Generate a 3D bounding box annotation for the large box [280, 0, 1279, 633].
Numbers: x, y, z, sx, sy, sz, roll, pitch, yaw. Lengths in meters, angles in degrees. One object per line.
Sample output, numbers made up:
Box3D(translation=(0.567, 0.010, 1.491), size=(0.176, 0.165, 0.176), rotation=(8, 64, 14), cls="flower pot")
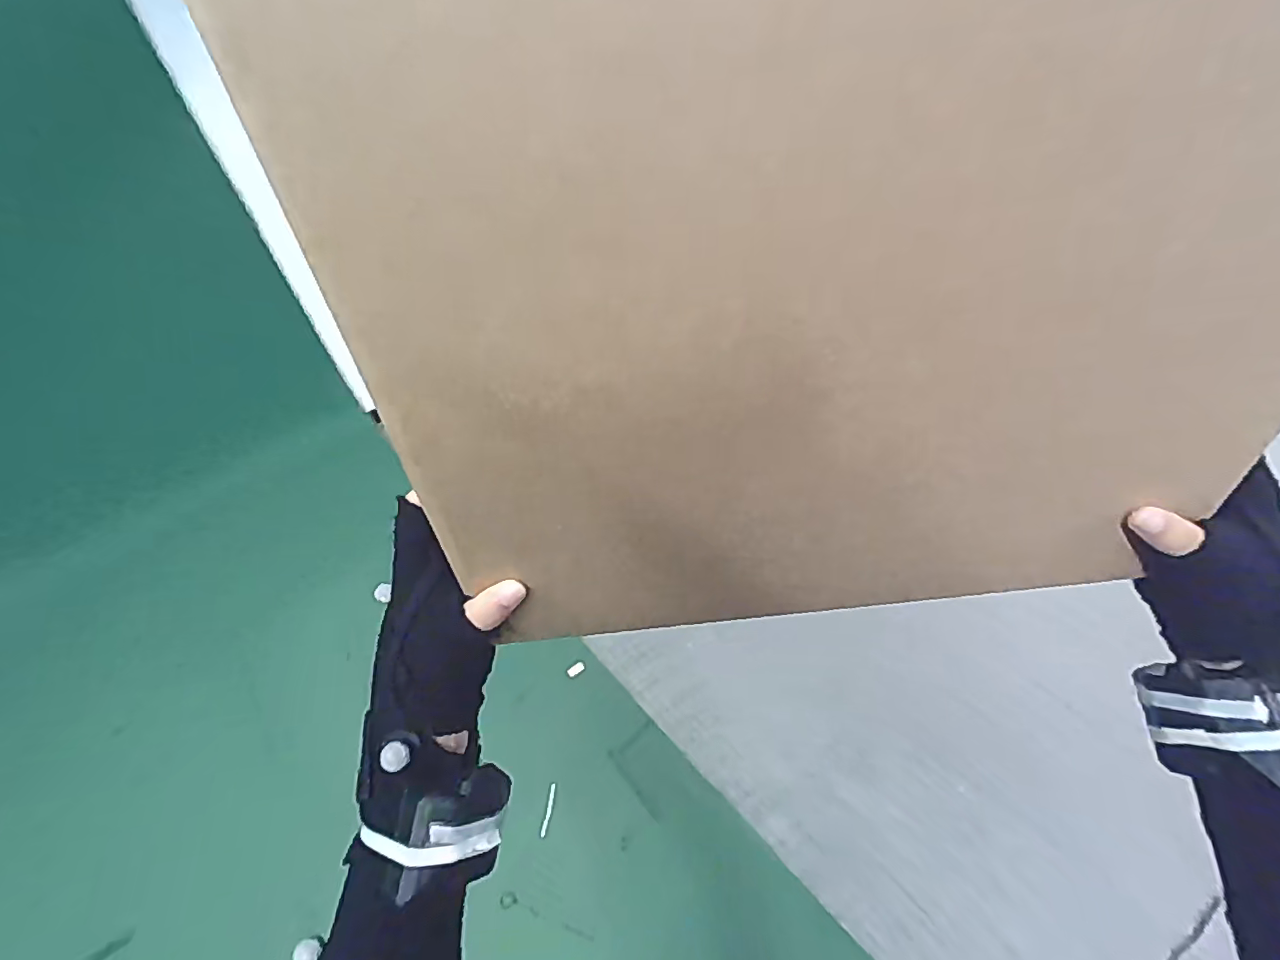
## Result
Box3D(translation=(0.095, -0.135, 0.342), size=(0.408, 0.320, 0.320), rotation=(-5, 40, -1), cls="large box")
